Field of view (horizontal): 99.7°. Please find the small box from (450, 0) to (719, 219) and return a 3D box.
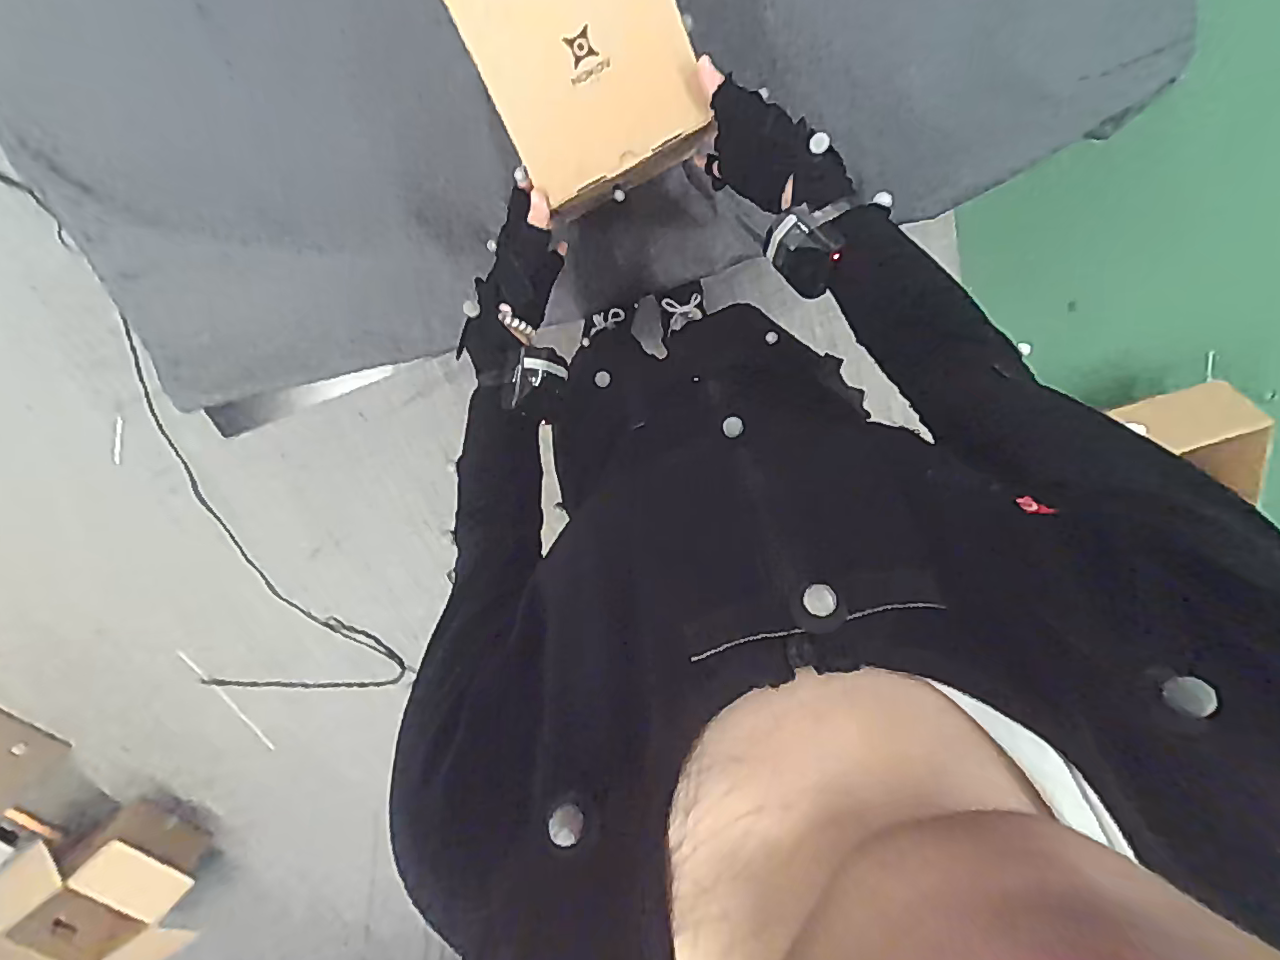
[{"bbox_3d":[-0.046,-0.372,0.513,0.168,0.176,0.179,-26,112,8],"label":"small box"}]
